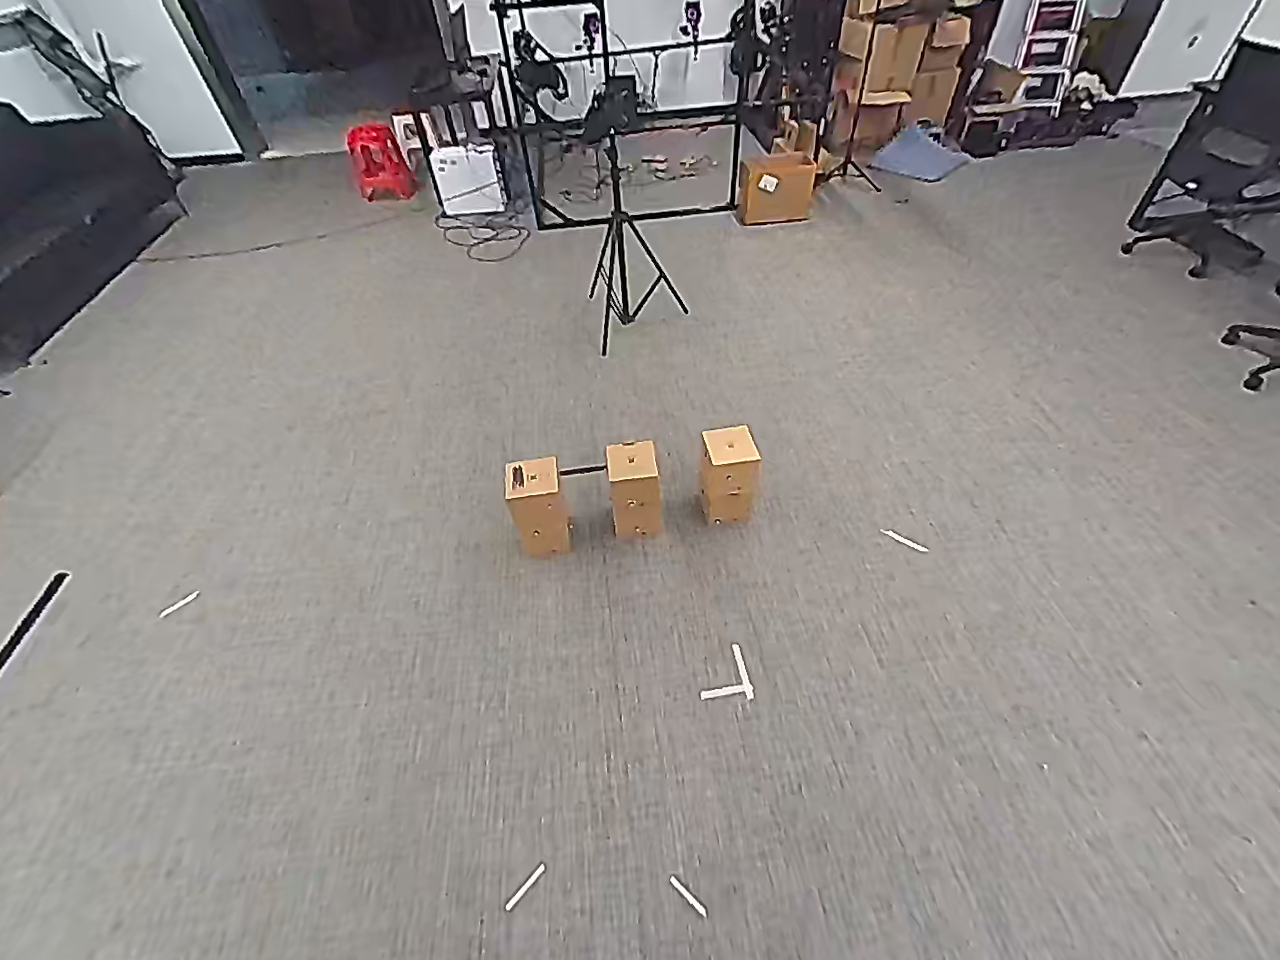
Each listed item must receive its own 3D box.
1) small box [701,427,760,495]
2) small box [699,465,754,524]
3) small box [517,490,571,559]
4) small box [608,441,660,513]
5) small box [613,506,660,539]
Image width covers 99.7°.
[{"bbox_3d":[0.316,-0.061,1.906,0.168,0.176,0.179,-8,46,-4],"label":"small box"},{"bbox_3d":[0.320,0.050,2.025,0.168,0.176,0.179,-9,47,-4],"label":"small box"},{"bbox_3d":[-0.346,0.162,1.968,0.168,0.176,0.179,-8,47,-3],"label":"small box"},{"bbox_3d":[-0.022,-0.009,1.877,0.168,0.176,0.179,-7,47,-2],"label":"small box"},{"bbox_3d":[-0.016,0.098,2.002,0.168,0.176,0.179,-6,48,-2],"label":"small box"}]
